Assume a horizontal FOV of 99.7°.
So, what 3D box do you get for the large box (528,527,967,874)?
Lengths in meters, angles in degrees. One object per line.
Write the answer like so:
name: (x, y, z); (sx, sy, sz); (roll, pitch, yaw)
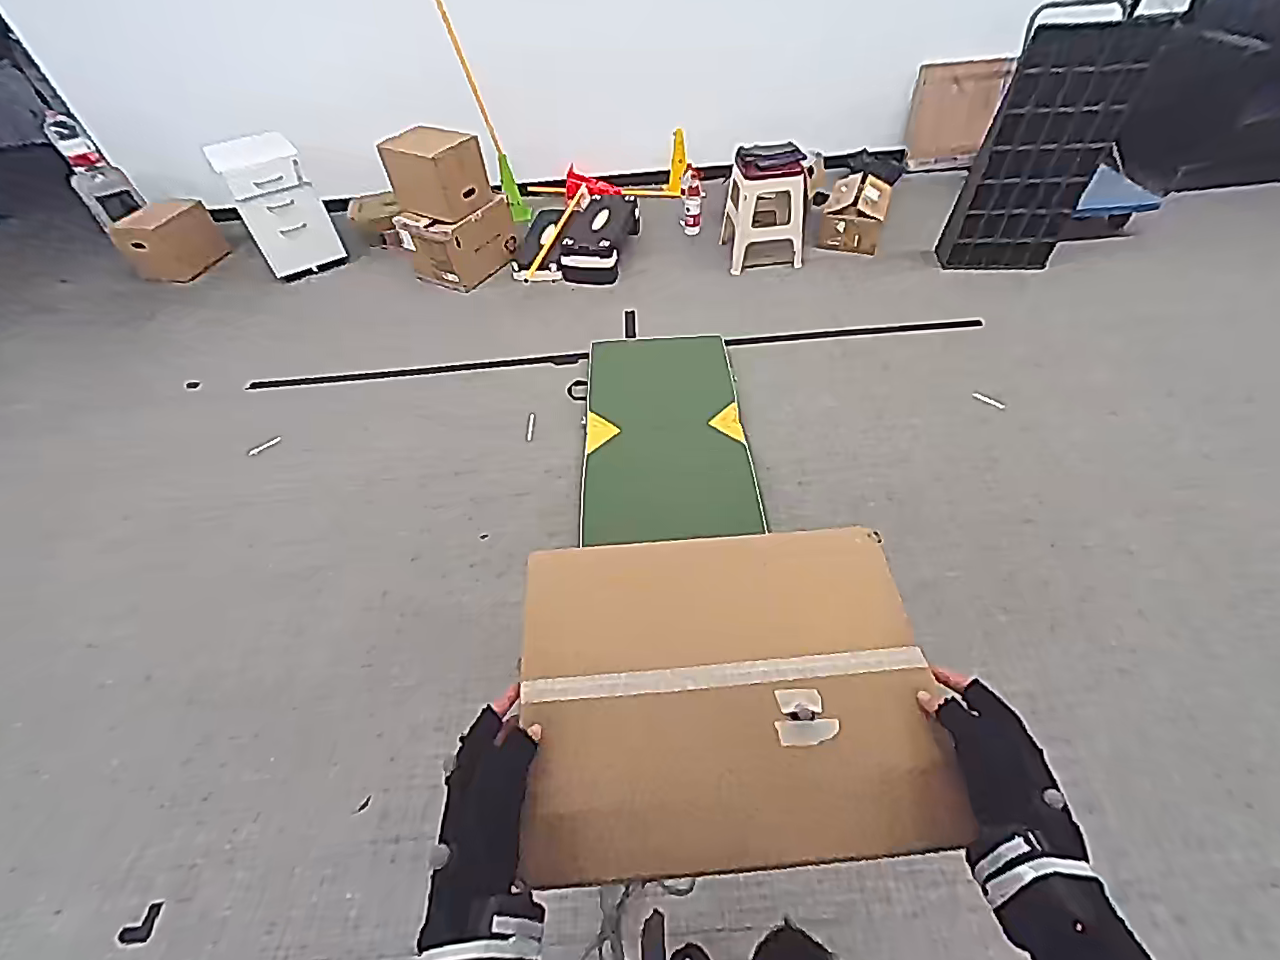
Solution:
large box: (0.085, 0.284, 0.680); (0.408, 0.320, 0.320); (-4, 55, -3)
